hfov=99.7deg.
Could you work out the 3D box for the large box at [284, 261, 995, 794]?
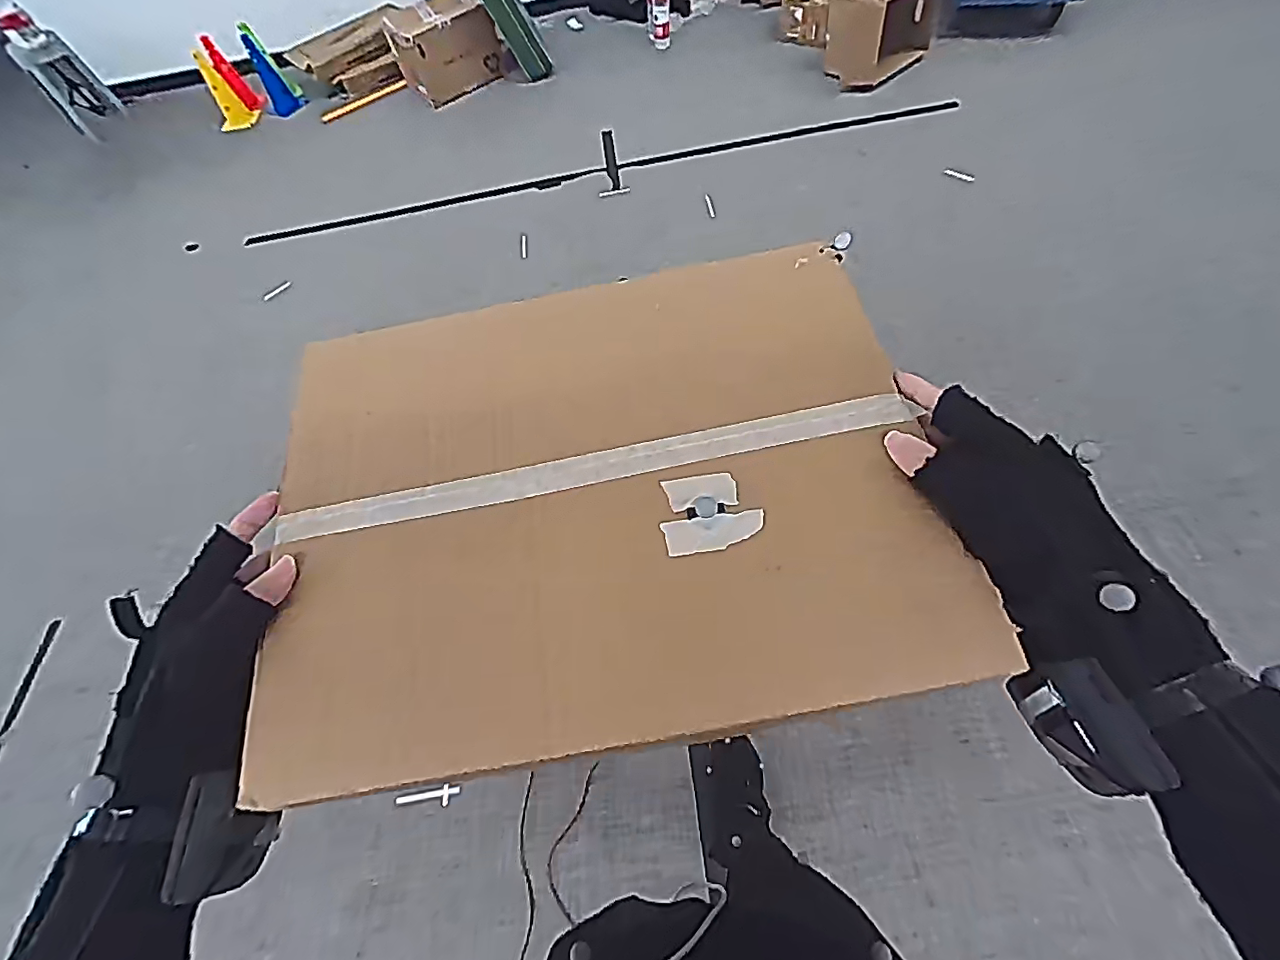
[{"bbox_3d":[-0.012,0.065,0.491,0.408,0.320,0.320,-11,64,1],"label":"large box"}]
